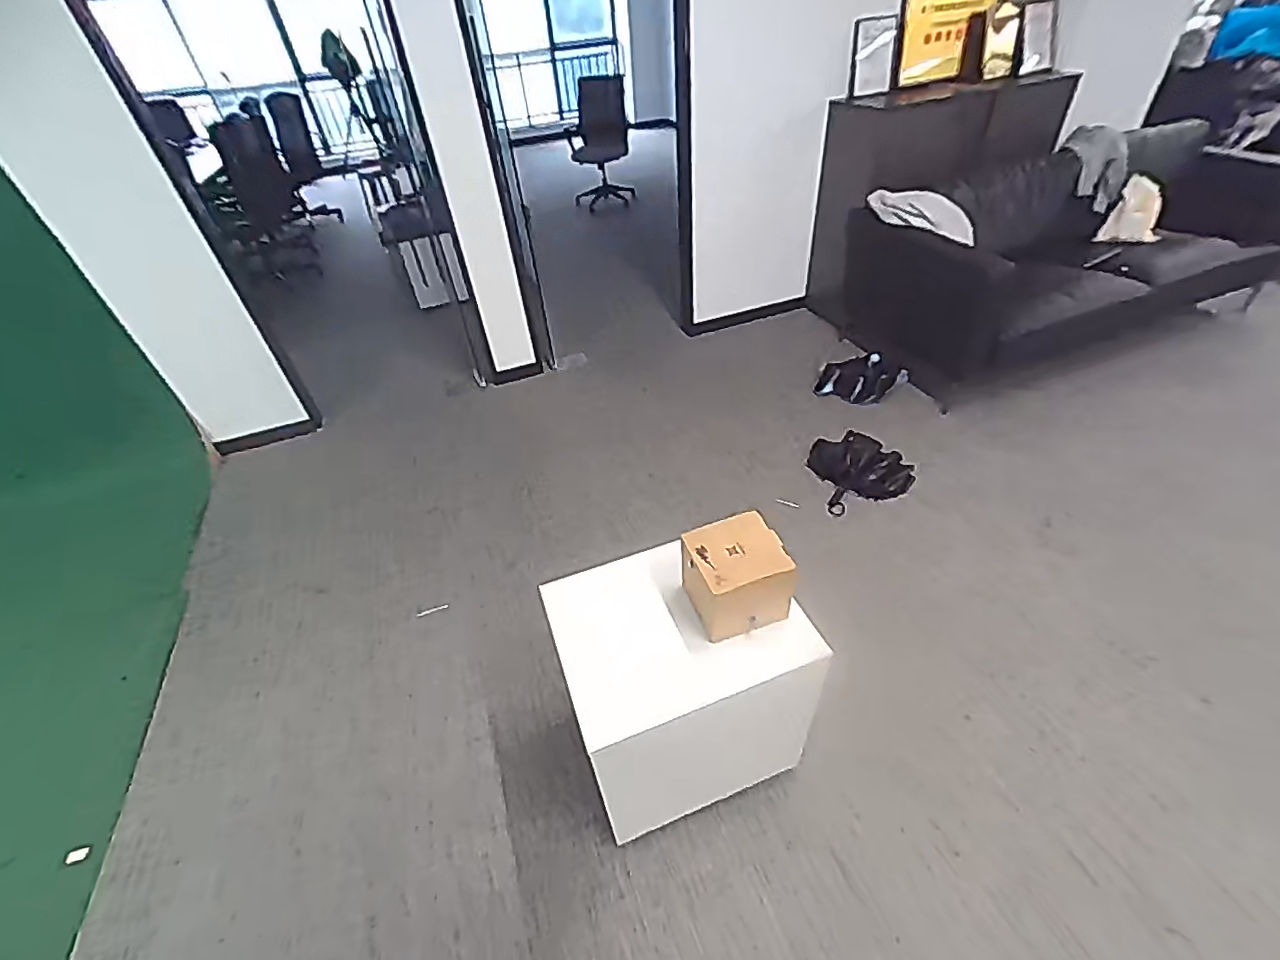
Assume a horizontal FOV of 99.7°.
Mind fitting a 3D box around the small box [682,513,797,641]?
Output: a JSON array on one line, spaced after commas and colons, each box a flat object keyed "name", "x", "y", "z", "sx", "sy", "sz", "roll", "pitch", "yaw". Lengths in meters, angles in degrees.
[{"name": "small box", "x": 0.193, "y": 0.198, "z": 1.106, "sx": 0.179, "sy": 0.176, "sz": 0.168, "roll": -15, "pitch": 43, "yaw": -12}]
